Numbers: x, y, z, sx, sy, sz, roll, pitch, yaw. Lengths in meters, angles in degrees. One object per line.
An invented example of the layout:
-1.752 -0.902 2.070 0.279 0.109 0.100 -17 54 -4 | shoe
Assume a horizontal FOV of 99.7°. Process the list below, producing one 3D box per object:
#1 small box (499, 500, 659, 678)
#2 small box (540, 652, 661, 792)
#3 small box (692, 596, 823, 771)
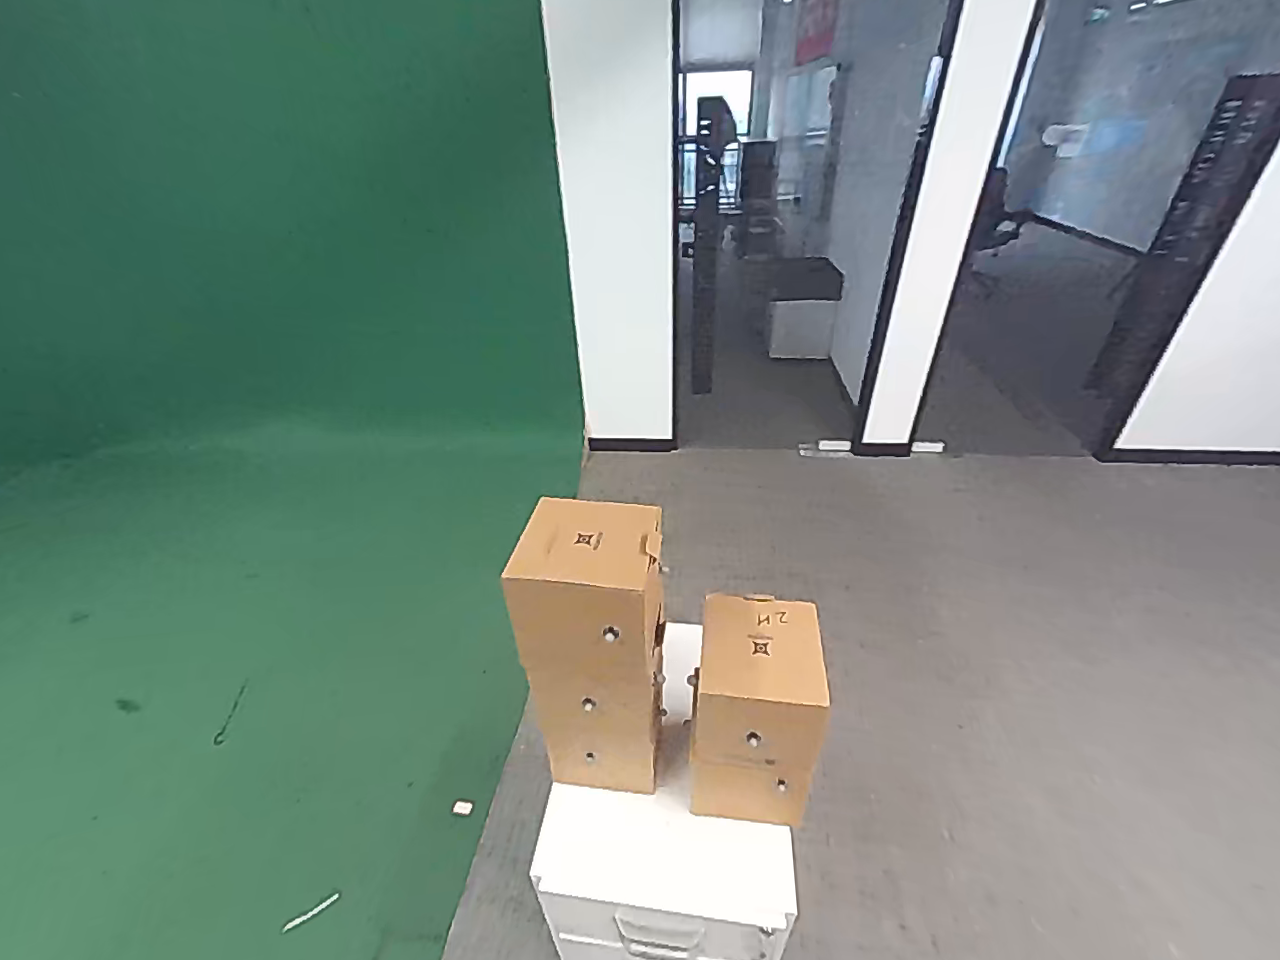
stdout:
-0.069 0.147 0.737 0.179 0.176 0.168 3 34 7 | small box
-0.059 0.411 0.933 0.179 0.176 0.168 4 36 6 | small box
0.165 0.298 0.796 0.168 0.176 0.179 4 35 8 | small box
